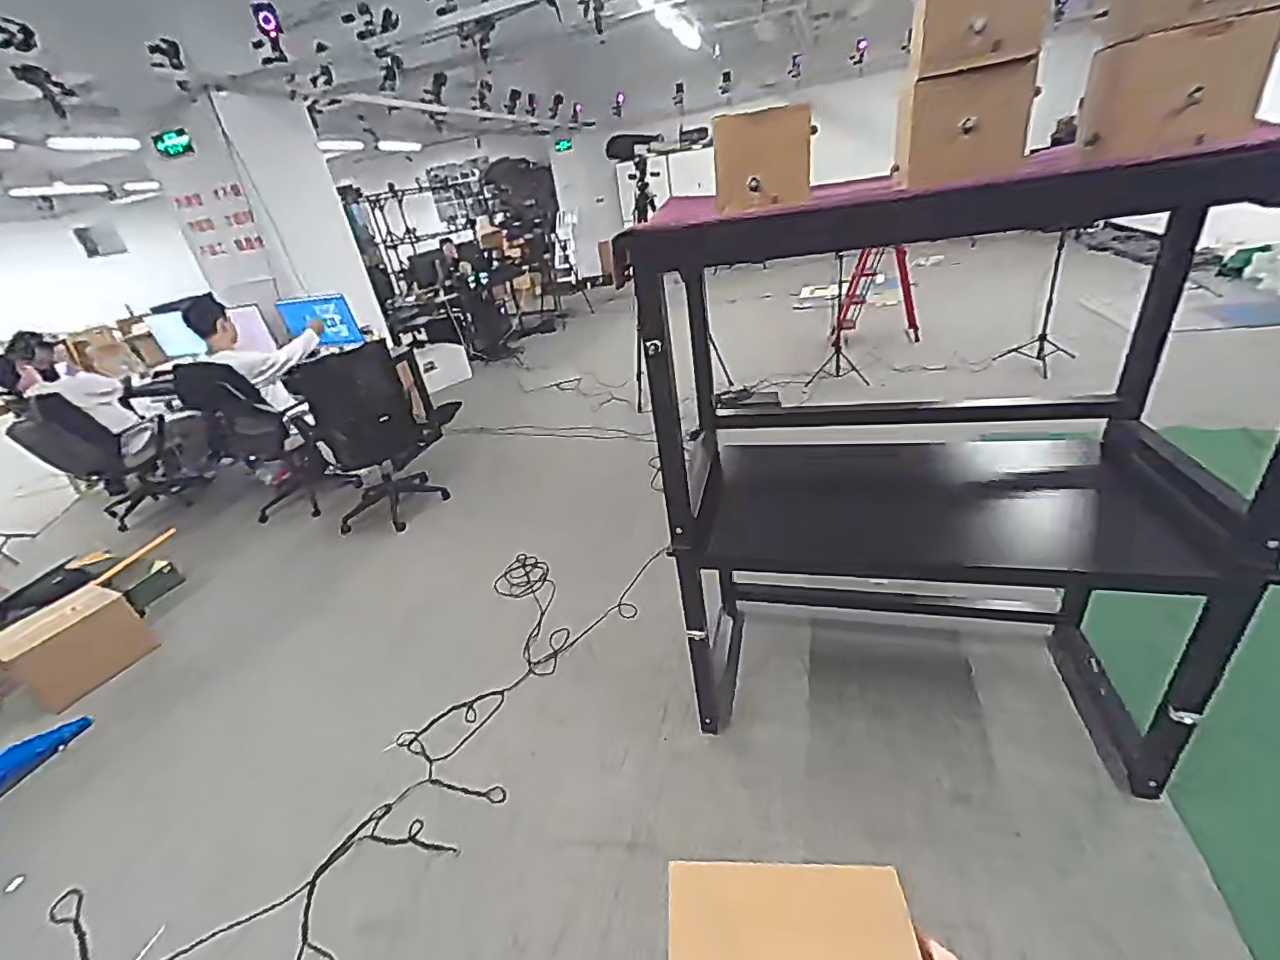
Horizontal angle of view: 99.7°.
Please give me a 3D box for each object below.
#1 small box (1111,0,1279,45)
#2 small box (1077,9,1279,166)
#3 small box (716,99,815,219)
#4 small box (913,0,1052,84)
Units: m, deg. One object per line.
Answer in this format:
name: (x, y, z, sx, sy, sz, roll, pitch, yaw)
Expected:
small box: (0.813, -0.742, 0.766, 0.168, 0.176, 0.179, 1, 31, 21)
small box: (0.829, -0.601, 0.848, 0.168, 0.176, 0.179, 0, 31, 18)
small box: (0.236, -0.595, 1.019, 0.168, 0.176, 0.179, -1, 29, 14)
small box: (0.531, -0.741, 0.848, 0.168, 0.176, 0.179, 2, 31, 21)
